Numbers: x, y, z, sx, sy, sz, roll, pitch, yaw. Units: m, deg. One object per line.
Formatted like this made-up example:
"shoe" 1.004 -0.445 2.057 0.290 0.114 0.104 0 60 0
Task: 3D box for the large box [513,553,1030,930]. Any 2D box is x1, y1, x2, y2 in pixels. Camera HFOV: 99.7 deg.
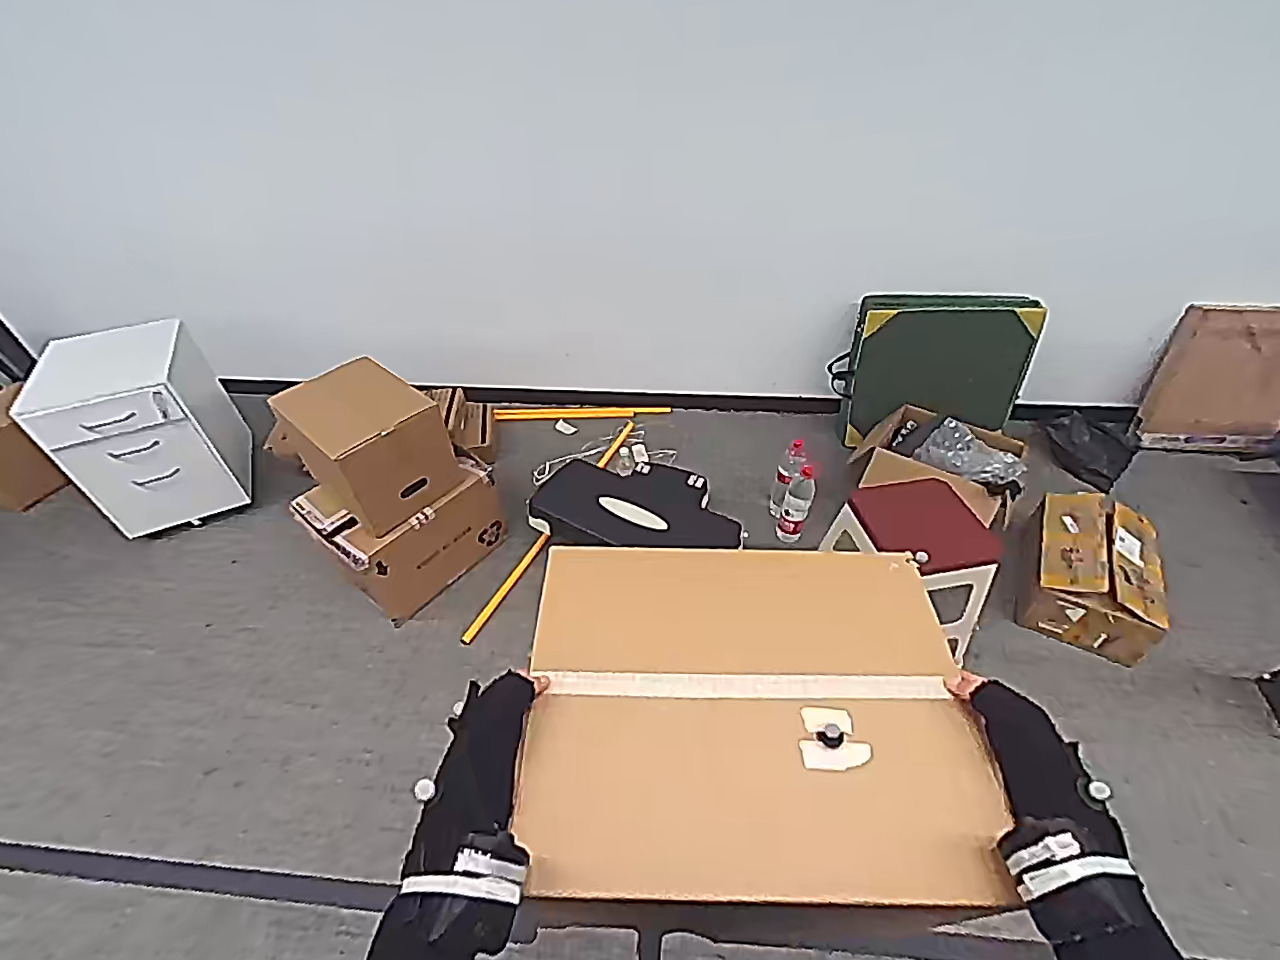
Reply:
"large box" 0.097 0.298 0.616 0.408 0.320 0.320 1 47 0
